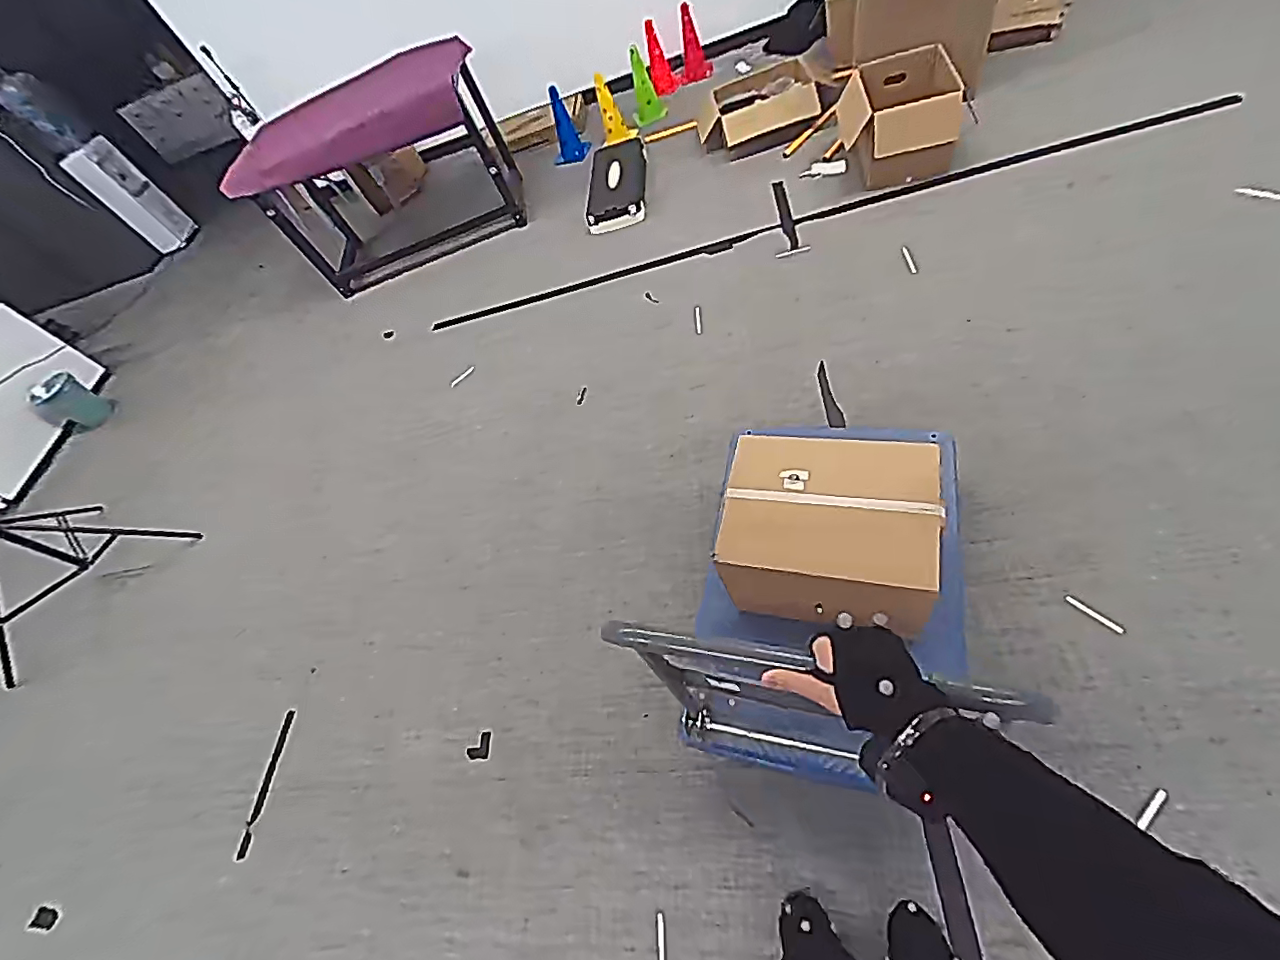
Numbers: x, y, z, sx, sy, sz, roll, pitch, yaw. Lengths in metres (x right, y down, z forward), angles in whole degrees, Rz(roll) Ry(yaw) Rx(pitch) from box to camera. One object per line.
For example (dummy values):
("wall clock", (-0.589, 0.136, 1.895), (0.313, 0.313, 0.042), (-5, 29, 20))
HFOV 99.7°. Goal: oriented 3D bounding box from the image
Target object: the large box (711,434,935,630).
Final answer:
("large box", (0.407, 0.113, 1.189), (0.408, 0.320, 0.320), (4, 59, 24))
